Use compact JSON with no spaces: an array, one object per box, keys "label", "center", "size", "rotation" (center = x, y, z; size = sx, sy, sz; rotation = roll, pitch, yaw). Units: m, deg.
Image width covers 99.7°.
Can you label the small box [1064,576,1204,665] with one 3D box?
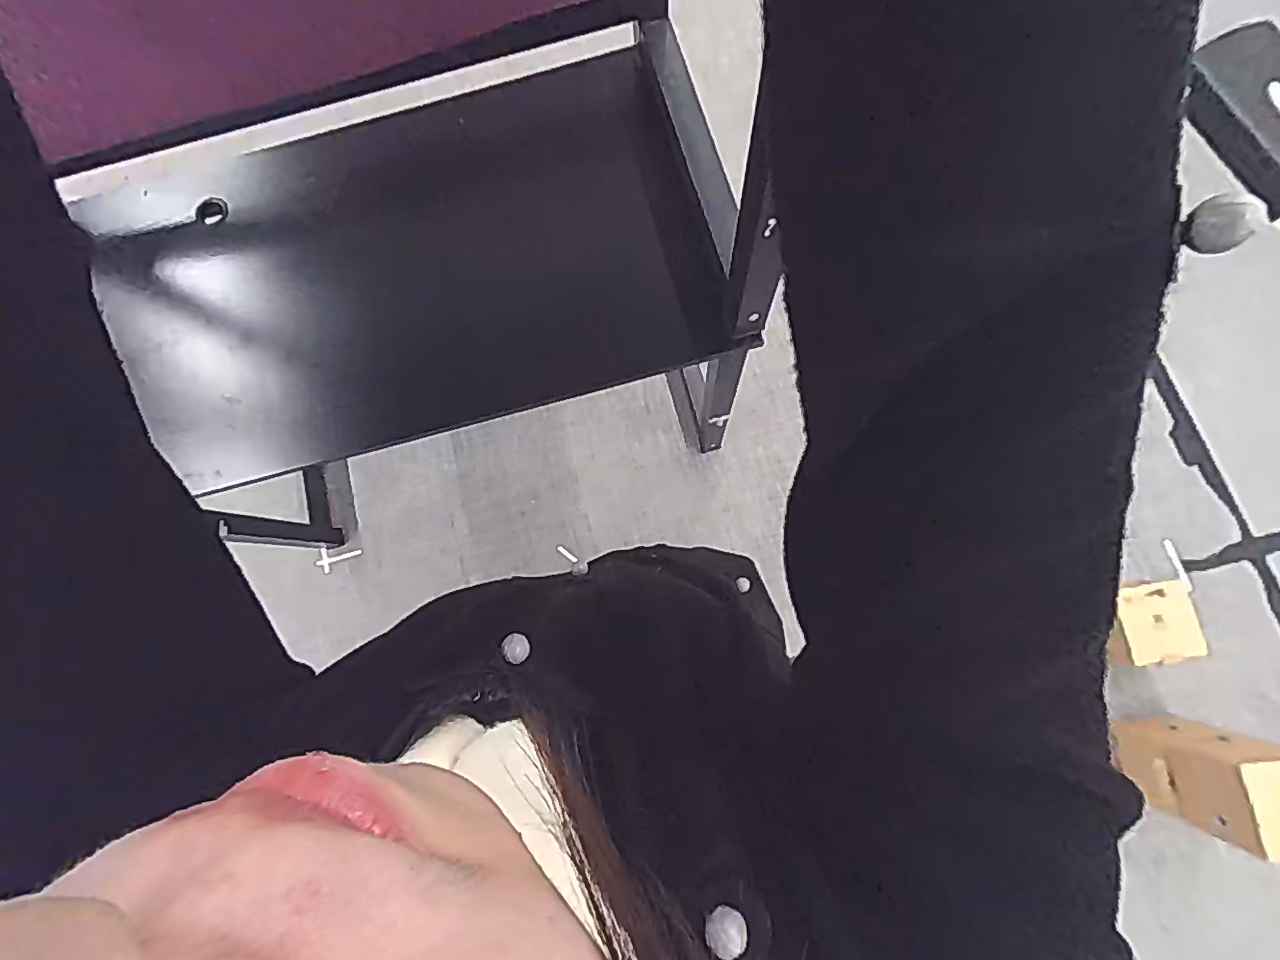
[{"label":"small box","center":[1.200,0.338,1.328],"size":[0.168,0.176,0.179],"rotation":[-10,81,2]}]

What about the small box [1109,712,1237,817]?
[{"label":"small box","center":[1.259,0.660,1.270],"size":[0.179,0.176,0.168],"rotation":[-9,80,1]}]

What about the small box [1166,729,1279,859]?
[{"label":"small box","center":[1.253,0.634,1.109],"size":[0.168,0.176,0.179],"rotation":[-8,80,1]}]
